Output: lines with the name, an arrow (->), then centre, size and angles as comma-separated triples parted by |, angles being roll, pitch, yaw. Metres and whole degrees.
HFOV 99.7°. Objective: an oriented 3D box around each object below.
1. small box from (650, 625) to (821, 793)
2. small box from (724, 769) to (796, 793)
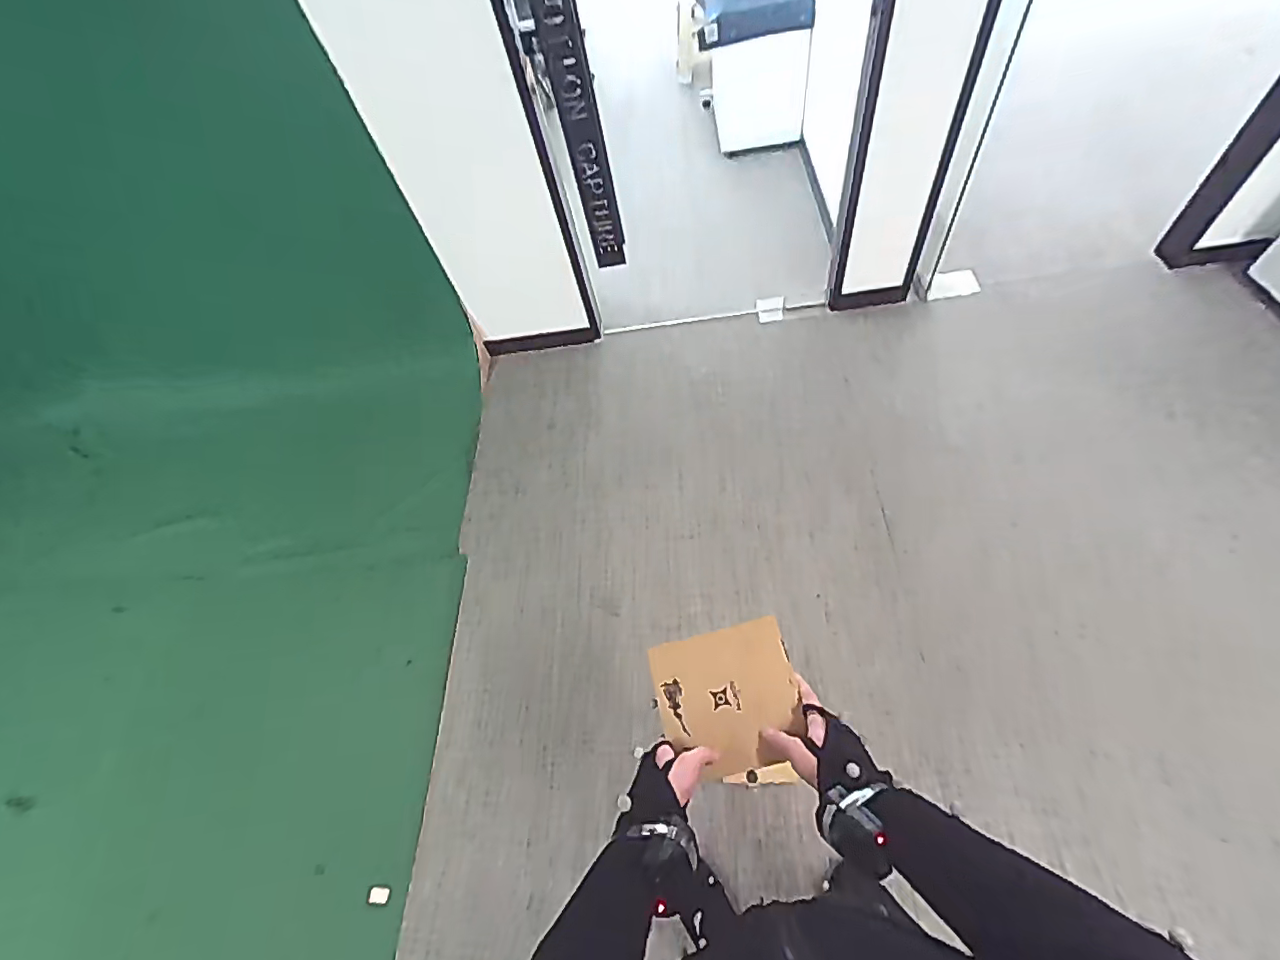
small box -> 0.123, 0.312, 0.734 | 0.179, 0.176, 0.168 | -15, 61, 3
small box -> 0.274, 0.637, 1.288 | 0.168, 0.176, 0.179 | -4, 58, 11
